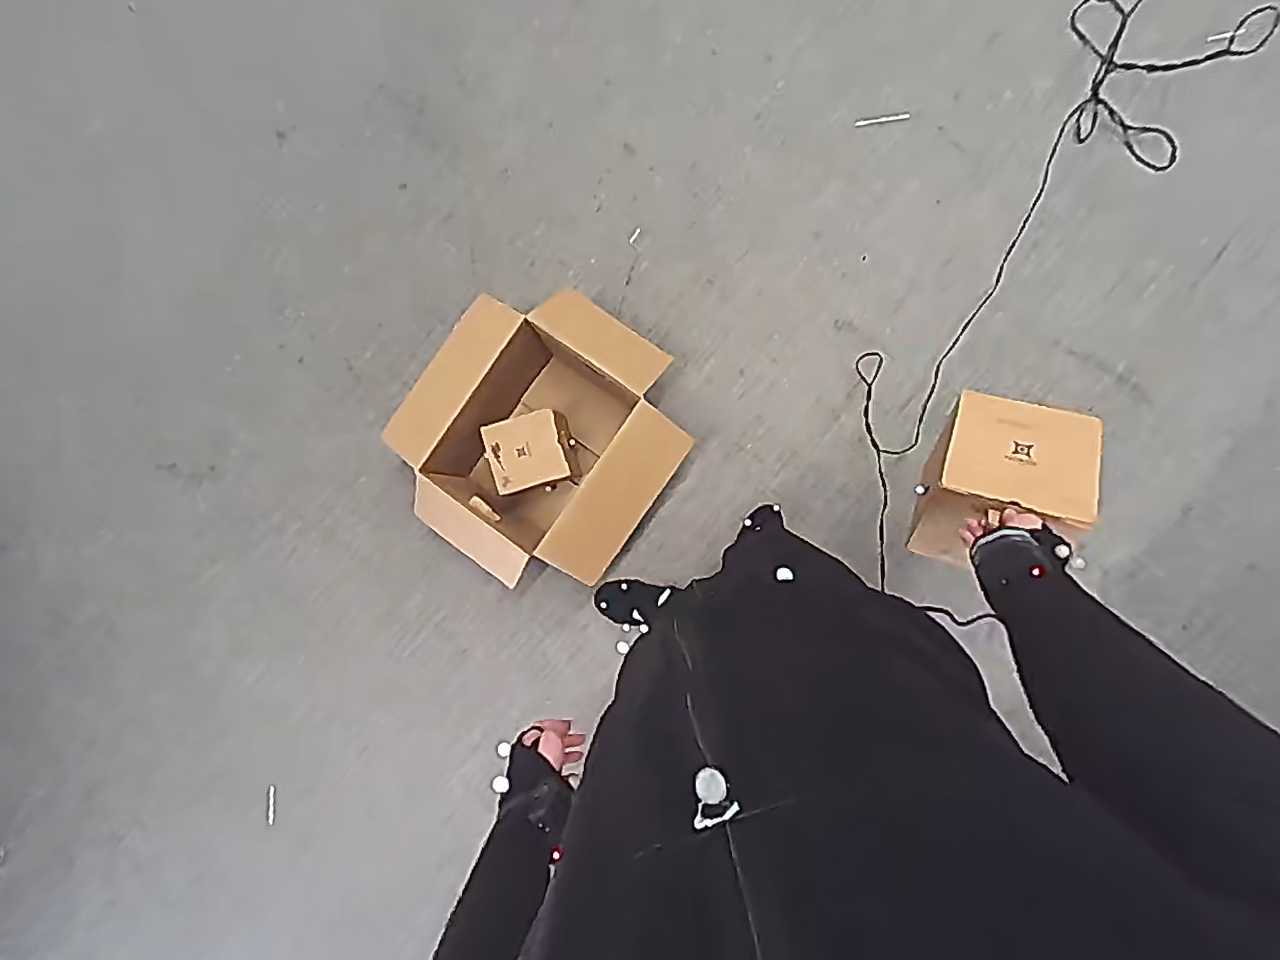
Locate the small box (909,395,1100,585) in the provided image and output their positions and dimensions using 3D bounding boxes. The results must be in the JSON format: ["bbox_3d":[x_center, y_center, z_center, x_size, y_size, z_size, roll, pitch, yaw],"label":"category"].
[{"bbox_3d":[0.492,0.018,0.749,0.168,0.176,0.179,19,58,20],"label":"small box"}]
